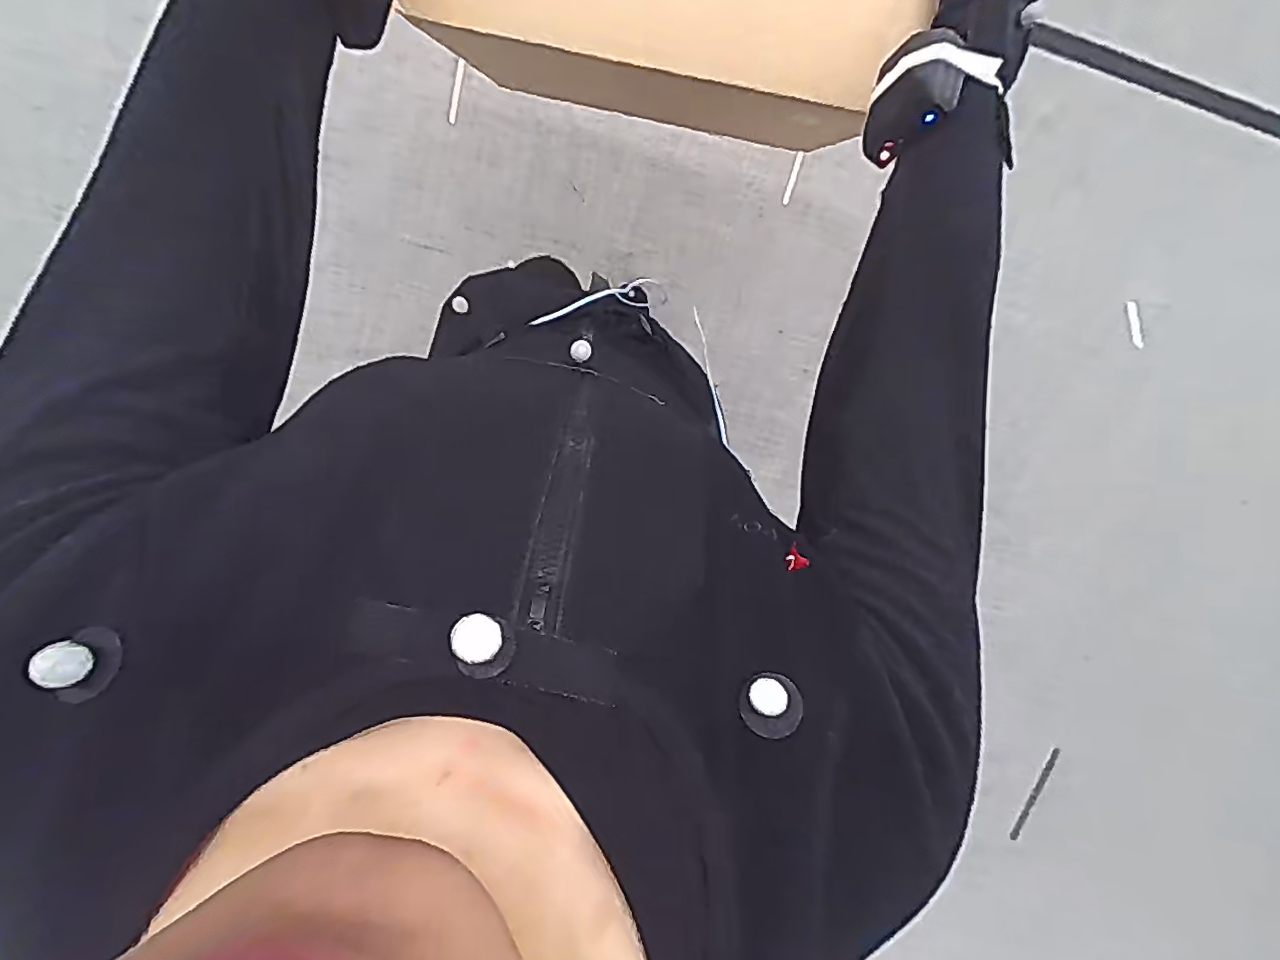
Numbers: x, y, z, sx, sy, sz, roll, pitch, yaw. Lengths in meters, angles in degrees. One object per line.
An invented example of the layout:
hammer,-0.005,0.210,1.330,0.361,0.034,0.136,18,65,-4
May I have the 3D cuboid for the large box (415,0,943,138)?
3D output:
large box,0.048,-0.532,0.483,0.408,0.320,0.320,10,119,-4
